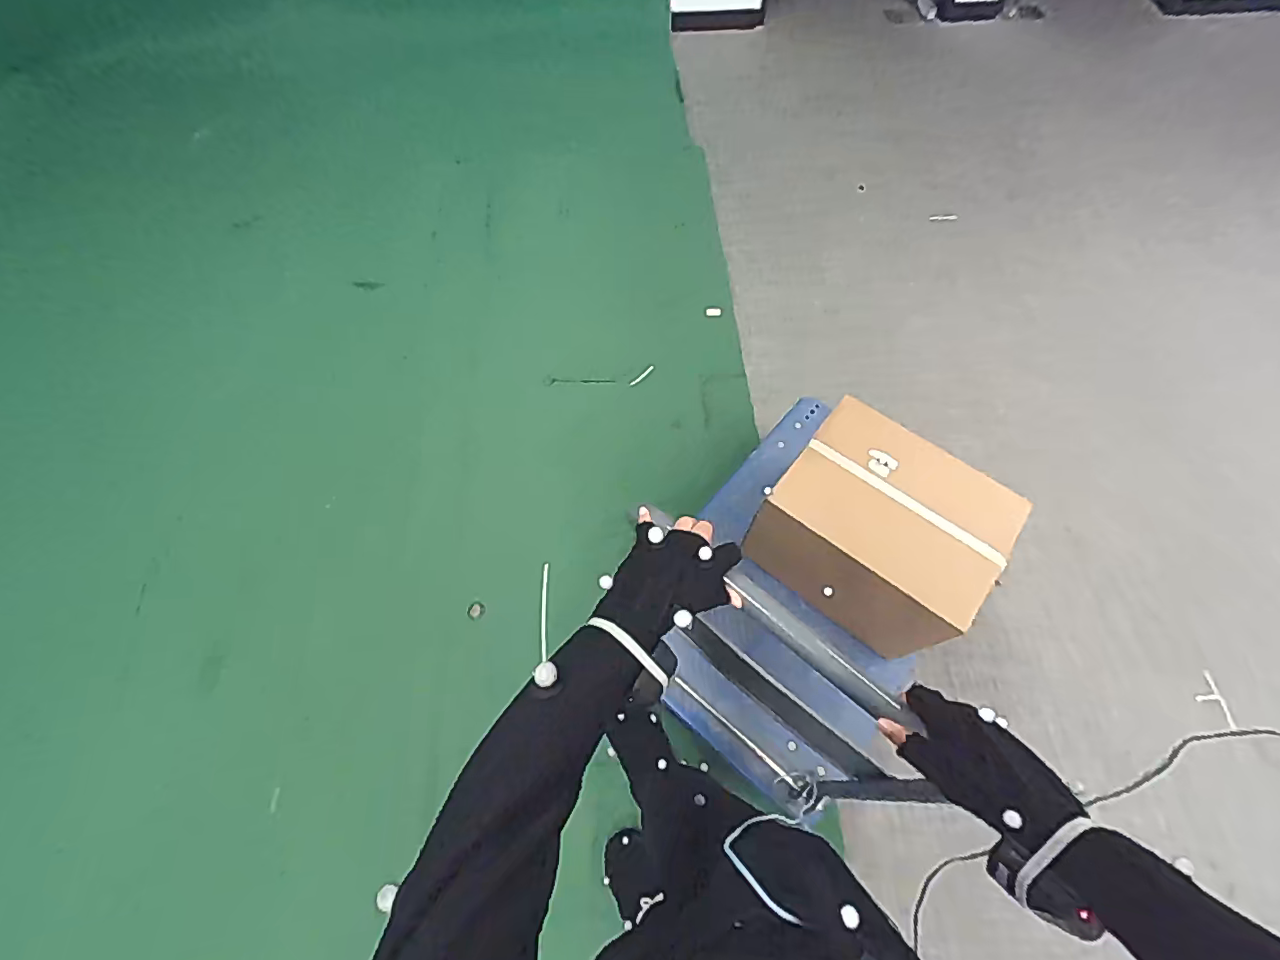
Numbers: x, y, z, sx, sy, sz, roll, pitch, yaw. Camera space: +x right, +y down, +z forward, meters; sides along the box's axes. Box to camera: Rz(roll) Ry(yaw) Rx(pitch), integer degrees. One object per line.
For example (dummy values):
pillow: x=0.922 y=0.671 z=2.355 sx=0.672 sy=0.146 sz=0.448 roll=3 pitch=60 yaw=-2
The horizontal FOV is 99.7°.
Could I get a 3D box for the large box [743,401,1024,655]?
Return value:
large box: x=0.490 y=0.113 z=1.166 sx=0.408 sy=0.320 sz=0.320 roll=35 pitch=67 yaw=17
